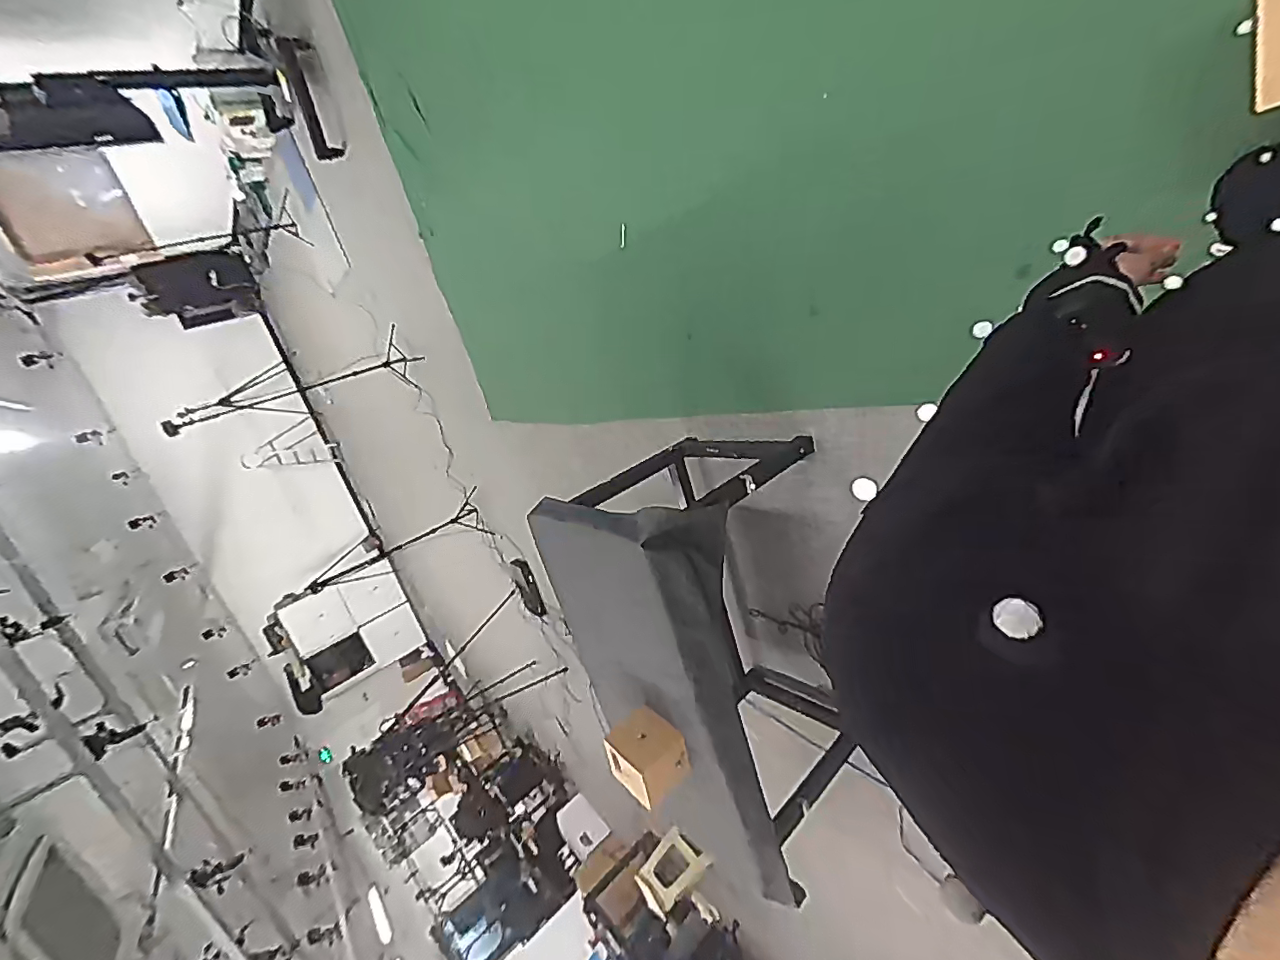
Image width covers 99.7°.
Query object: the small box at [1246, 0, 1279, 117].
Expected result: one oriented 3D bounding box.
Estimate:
[{"bbox_3d":[0.790,-0.530,0.583,0.168,0.176,0.179,3,116,53],"label":"small box"}]
